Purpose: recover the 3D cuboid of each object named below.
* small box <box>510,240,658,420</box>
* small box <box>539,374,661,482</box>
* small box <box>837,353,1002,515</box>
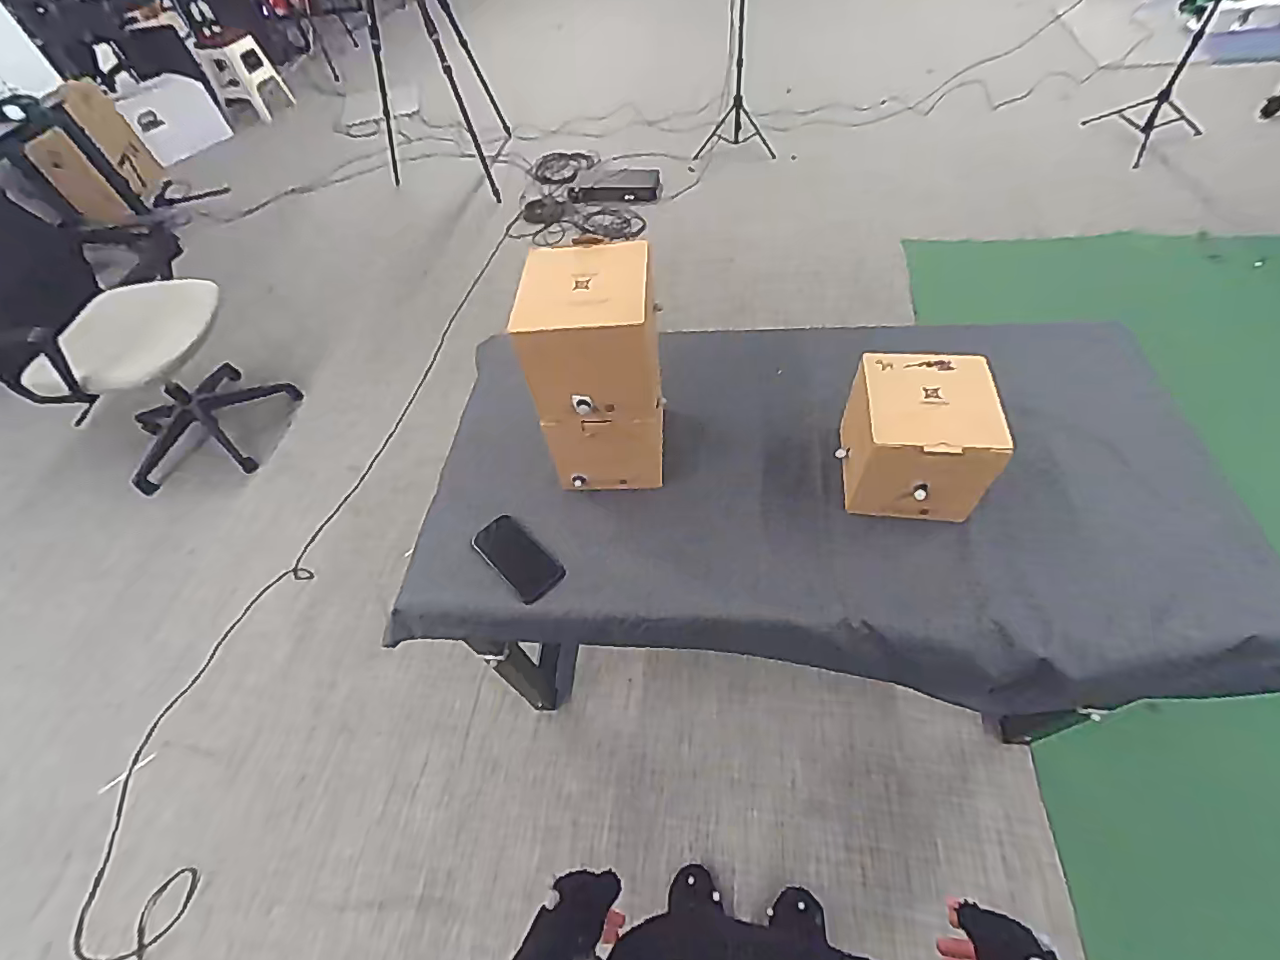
[{"bbox_3d":[-0.064,-0.202,0.745,0.168,0.176,0.179,-2,56,5],"label":"small box"},{"bbox_3d":[-0.053,-0.108,0.876,0.168,0.176,0.179,-1,54,5],"label":"small box"},{"bbox_3d":[0.394,-0.064,0.797,0.168,0.176,0.179,4,56,9],"label":"small box"}]
